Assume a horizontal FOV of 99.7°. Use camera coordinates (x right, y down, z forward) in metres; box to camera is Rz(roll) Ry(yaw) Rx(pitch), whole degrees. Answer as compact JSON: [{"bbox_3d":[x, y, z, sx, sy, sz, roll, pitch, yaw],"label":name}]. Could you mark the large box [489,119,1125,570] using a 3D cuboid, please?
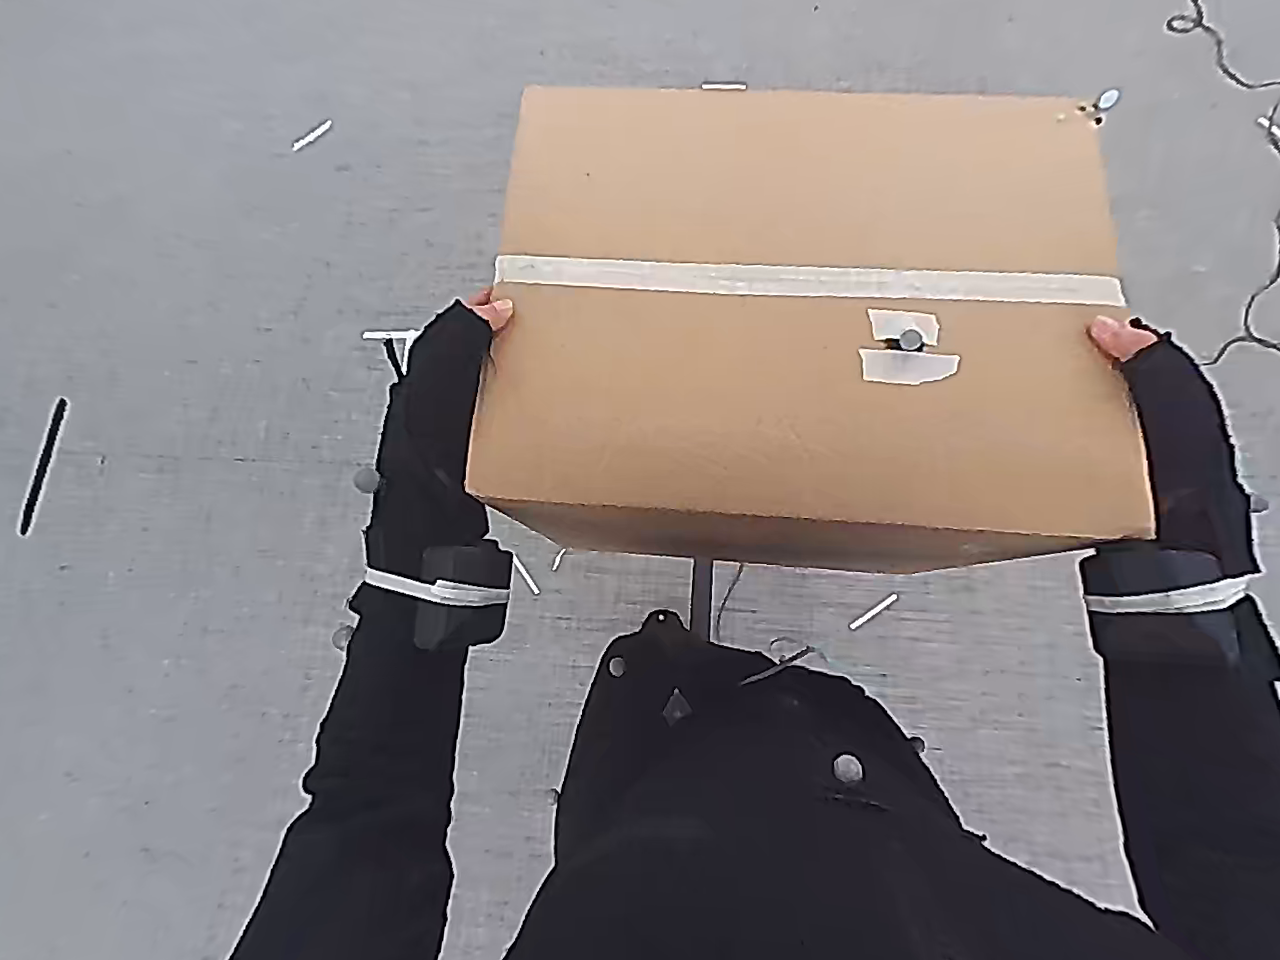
[{"bbox_3d":[0.110,-0.087,0.515,0.408,0.320,0.320,3,78,3],"label":"large box"}]
